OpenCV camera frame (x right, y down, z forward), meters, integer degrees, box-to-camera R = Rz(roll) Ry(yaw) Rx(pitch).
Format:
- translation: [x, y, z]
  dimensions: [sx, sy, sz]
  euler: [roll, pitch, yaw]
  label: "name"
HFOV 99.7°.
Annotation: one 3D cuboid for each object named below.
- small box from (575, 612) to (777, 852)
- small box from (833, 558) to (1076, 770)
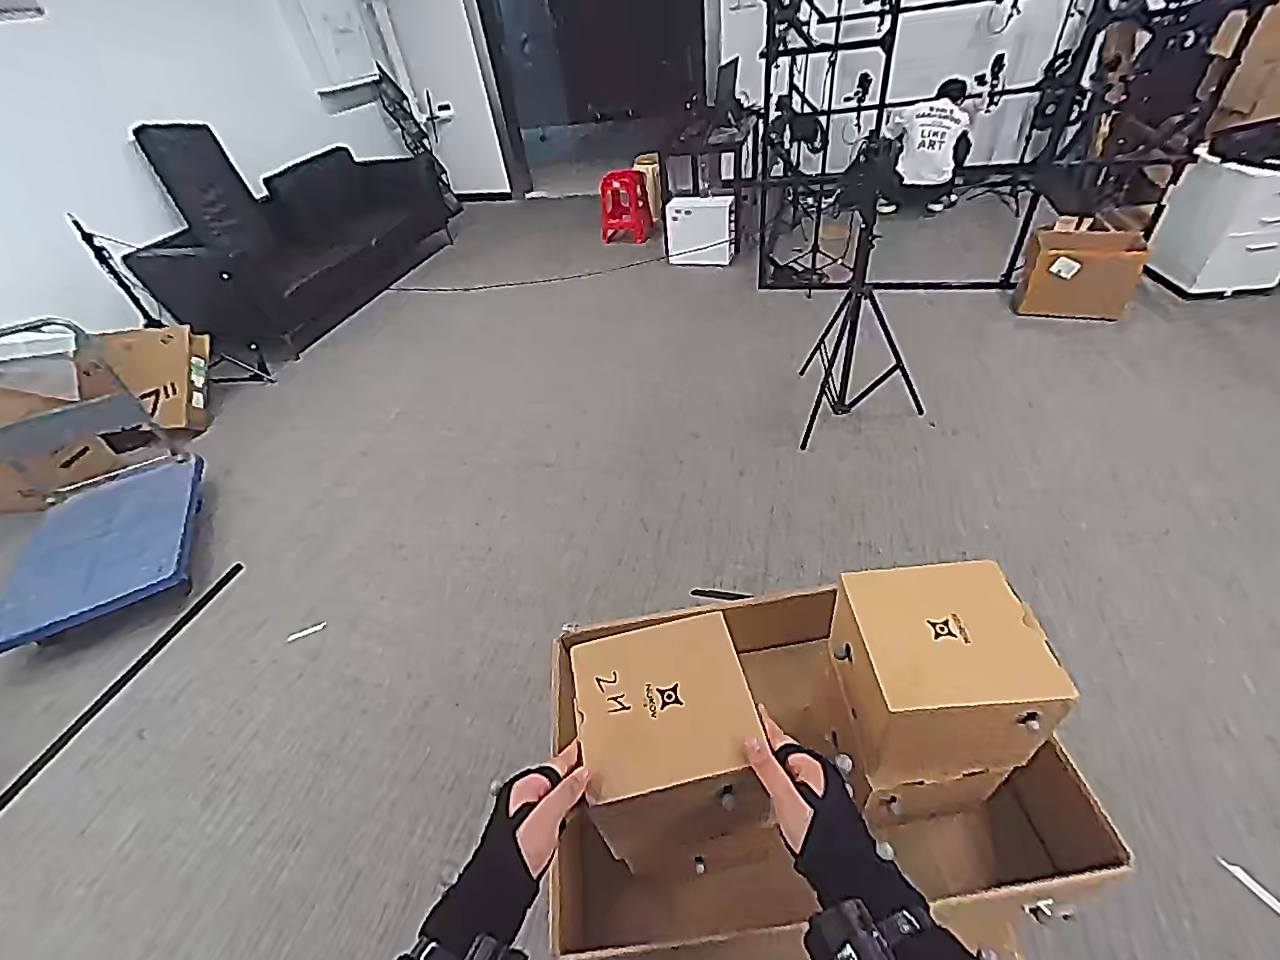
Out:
- translation: [0.037, 0.275, 0.591]
  dimensions: [0.179, 0.176, 0.168]
  euler: [-13, 41, -2]
  label: "small box"
- translation: [0.330, 0.213, 0.618]
  dimensions: [0.179, 0.176, 0.168]
  euler: [-7, 42, 4]
  label: "small box"
